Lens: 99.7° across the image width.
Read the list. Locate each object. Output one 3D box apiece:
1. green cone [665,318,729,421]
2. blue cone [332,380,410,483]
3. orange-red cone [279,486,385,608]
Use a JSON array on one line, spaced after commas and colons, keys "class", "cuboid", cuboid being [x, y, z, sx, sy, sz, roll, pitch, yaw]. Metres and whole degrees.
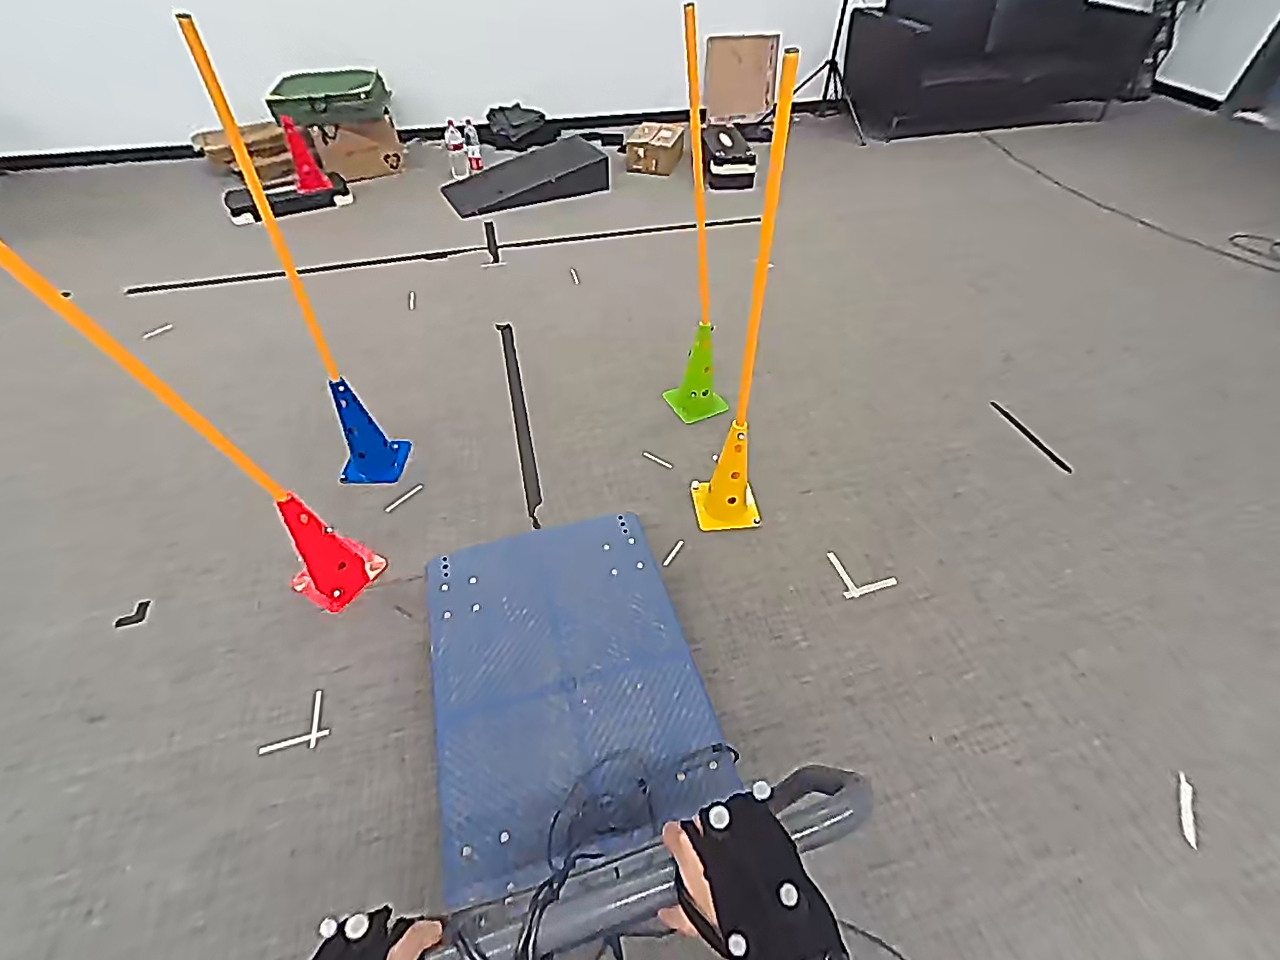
[{"class": "green cone", "cuboid": [0.226, -0.428, 1.985, 0.200, 0.368, 0.202, -22, 53, -19]}, {"class": "blue cone", "cuboid": [-0.904, -0.173, 1.755, 0.193, 0.380, 0.192, 1, 49, -1]}, {"class": "orange-red cone", "cuboid": [-0.869, 0.146, 1.449, 0.198, 0.360, 0.199, 25, 51, 19]}]
